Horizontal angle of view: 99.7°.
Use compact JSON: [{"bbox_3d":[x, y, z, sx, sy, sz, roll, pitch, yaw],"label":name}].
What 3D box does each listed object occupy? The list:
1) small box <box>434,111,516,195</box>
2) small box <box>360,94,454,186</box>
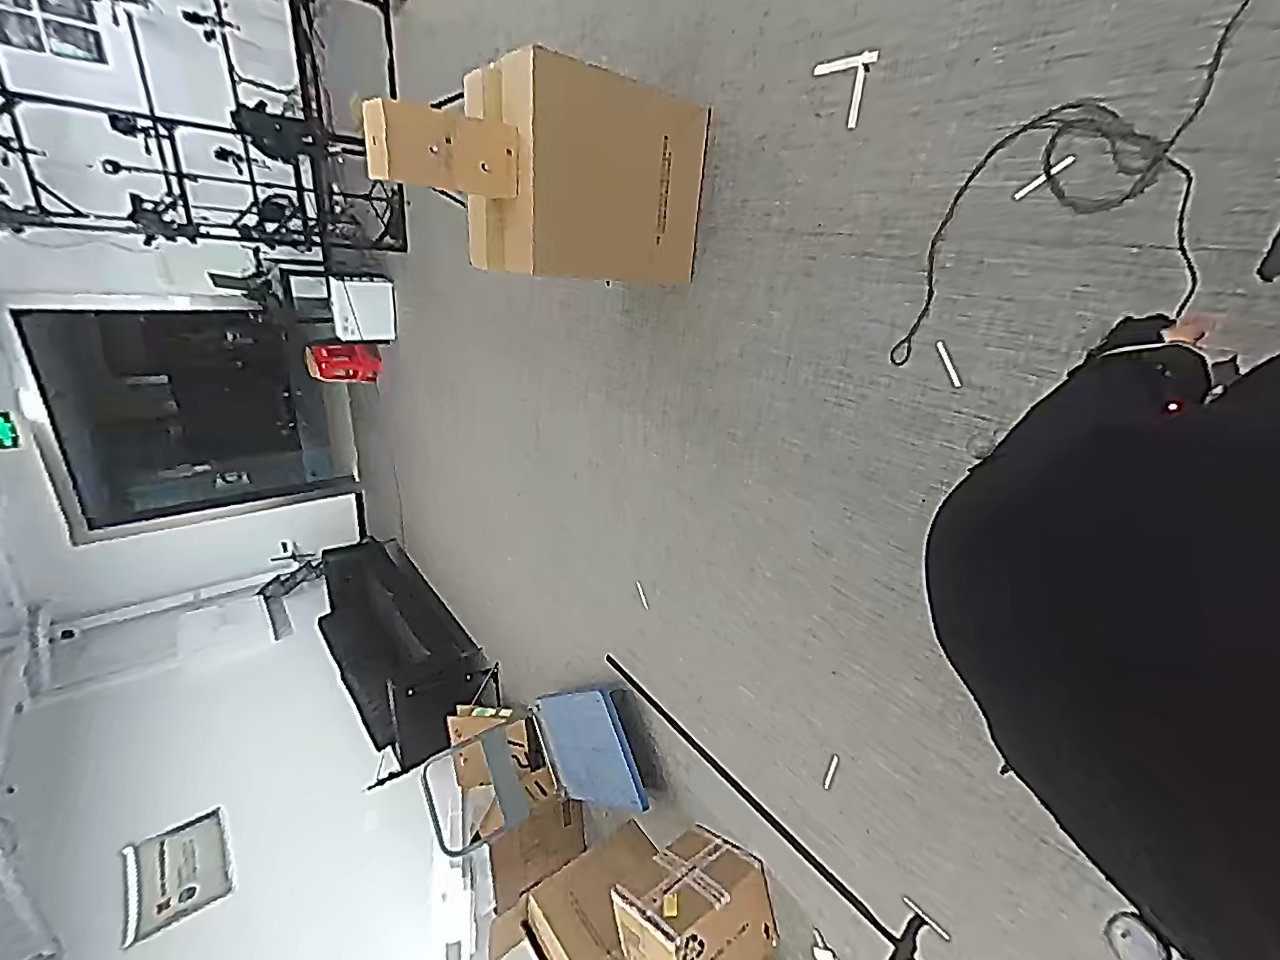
[{"bbox_3d":[-0.437,-0.856,1.427,0.179,0.176,0.168,31,124,44],"label":"small box"},{"bbox_3d":[-0.569,-0.829,1.331,0.179,0.176,0.168,33,126,42],"label":"small box"}]
